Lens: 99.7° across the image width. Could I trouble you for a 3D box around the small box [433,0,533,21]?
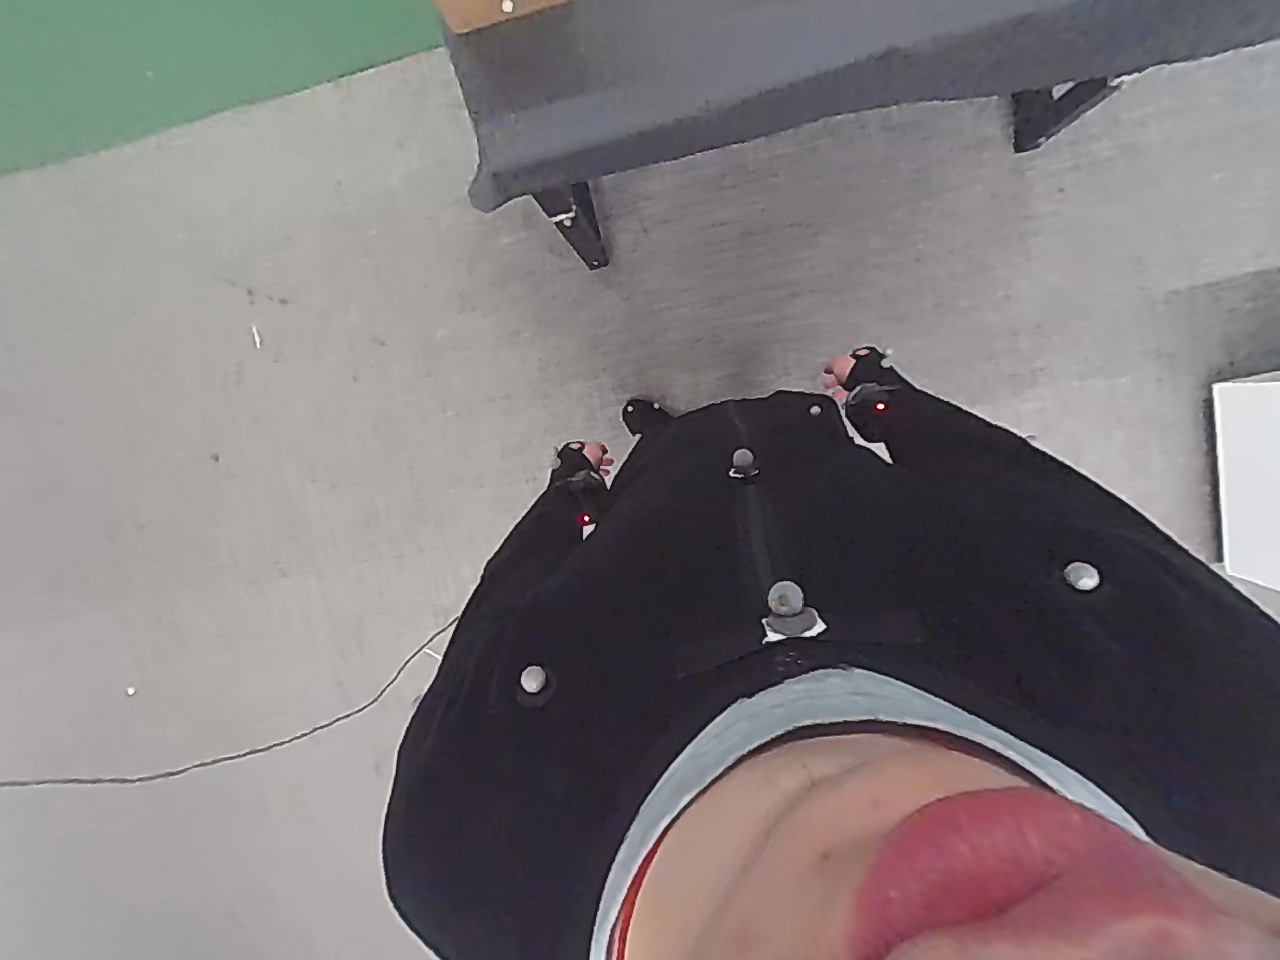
[{"bbox_3d":[-0.202,-0.708,0.646,0.179,0.176,0.168,-12,97,4],"label":"small box"}]
